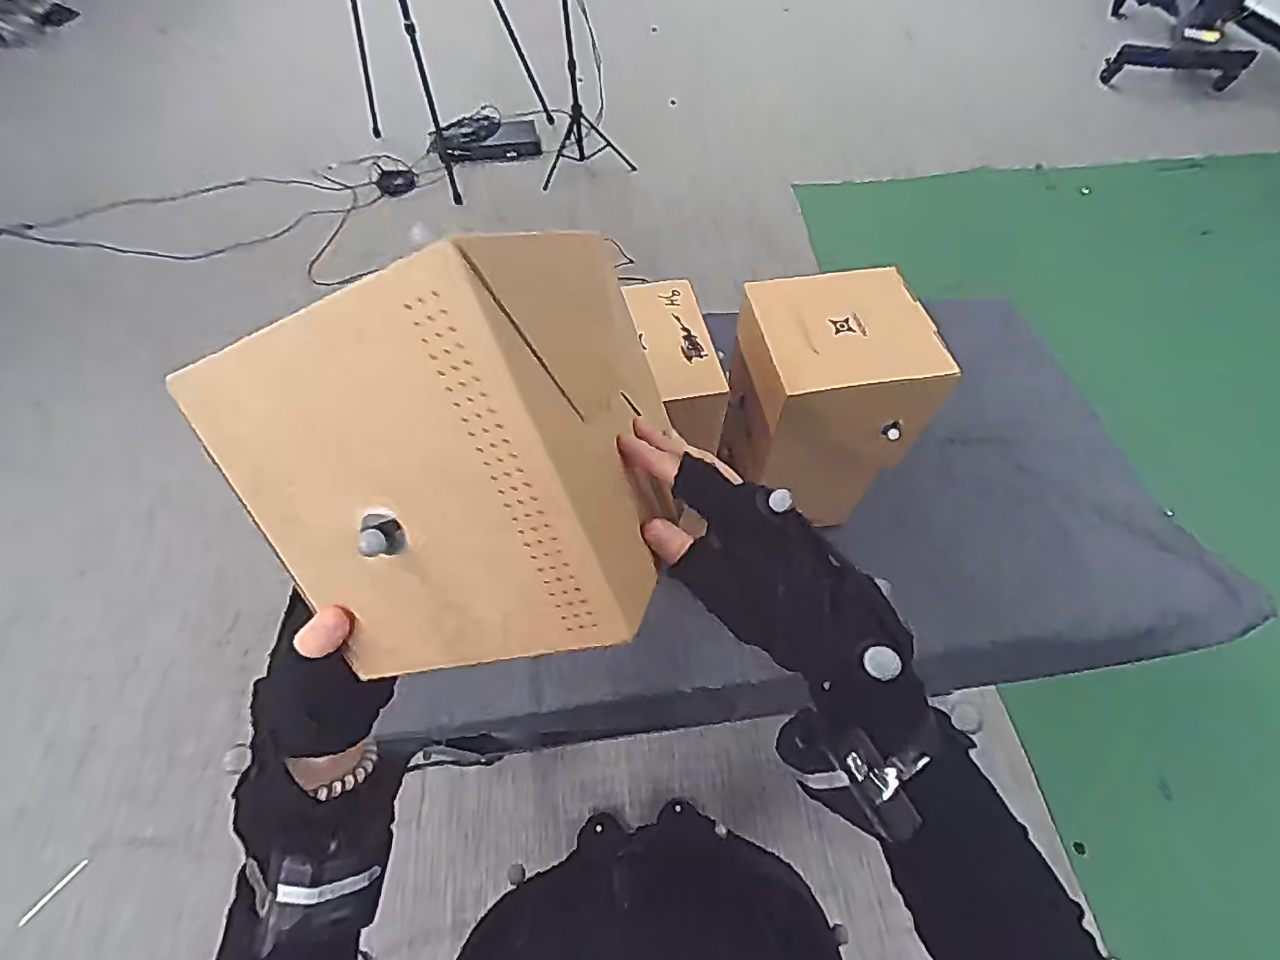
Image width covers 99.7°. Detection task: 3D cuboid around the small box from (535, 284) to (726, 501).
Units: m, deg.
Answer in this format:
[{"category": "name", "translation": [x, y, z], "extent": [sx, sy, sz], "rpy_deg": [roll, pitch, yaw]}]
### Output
[{"category": "small box", "translation": [-0.012, -0.093, 0.622], "extent": [0.179, 0.176, 0.168], "rpy_deg": [-11, 60, -4]}]
